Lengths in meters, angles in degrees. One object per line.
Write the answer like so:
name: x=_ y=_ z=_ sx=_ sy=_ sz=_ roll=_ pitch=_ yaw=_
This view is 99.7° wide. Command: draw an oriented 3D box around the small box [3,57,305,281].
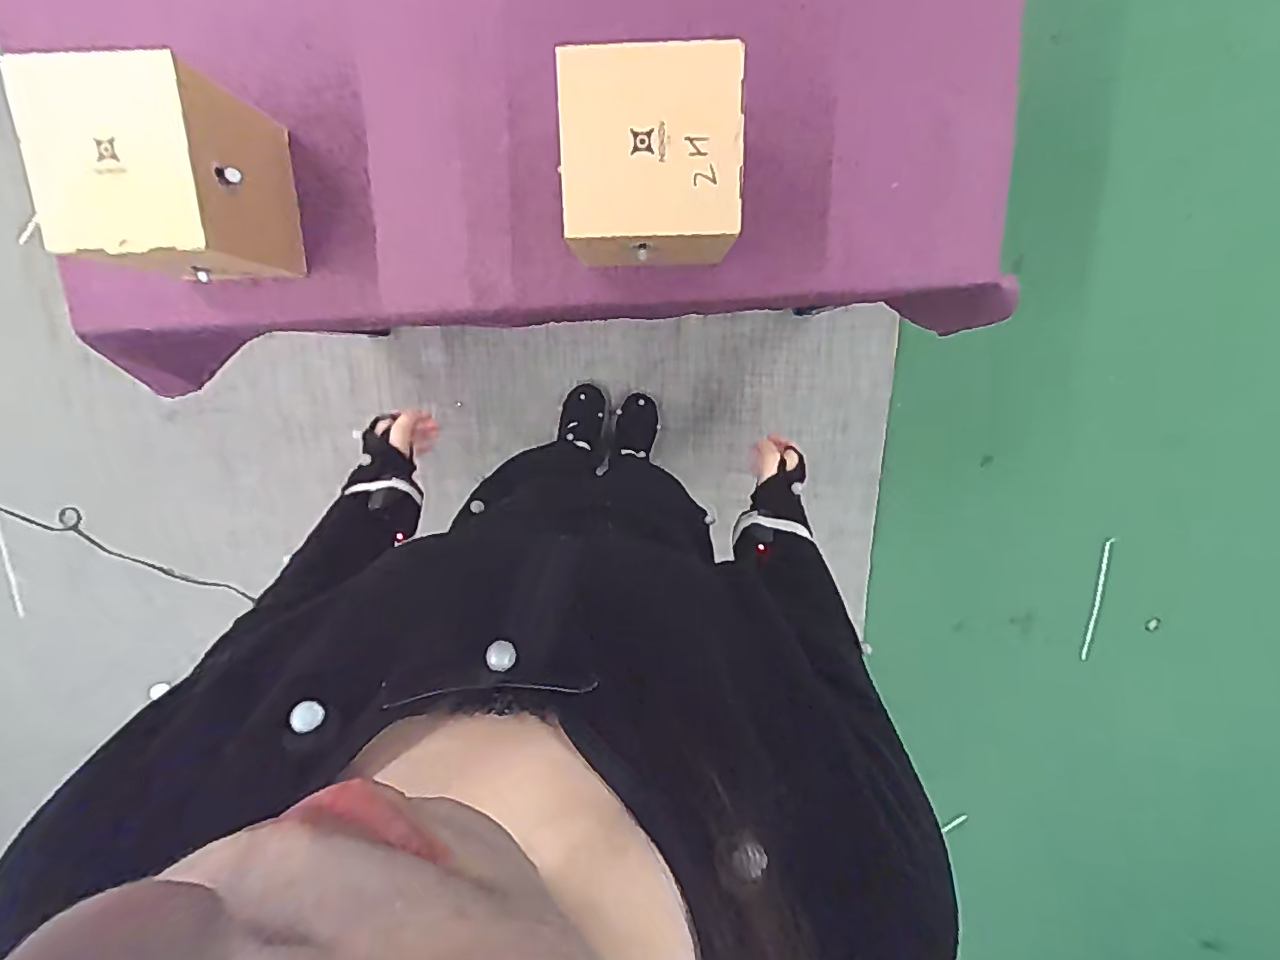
small box: x=-0.509 y=-0.325 z=0.599 sx=0.168 sy=0.176 sz=0.179 roll=-1 pitch=103 yaw=0

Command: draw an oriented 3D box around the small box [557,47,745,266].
small box: x=0.012 y=-0.333 z=0.590 sx=0.179 sy=0.176 sz=0.168 roll=-1 pitch=103 yaw=1
